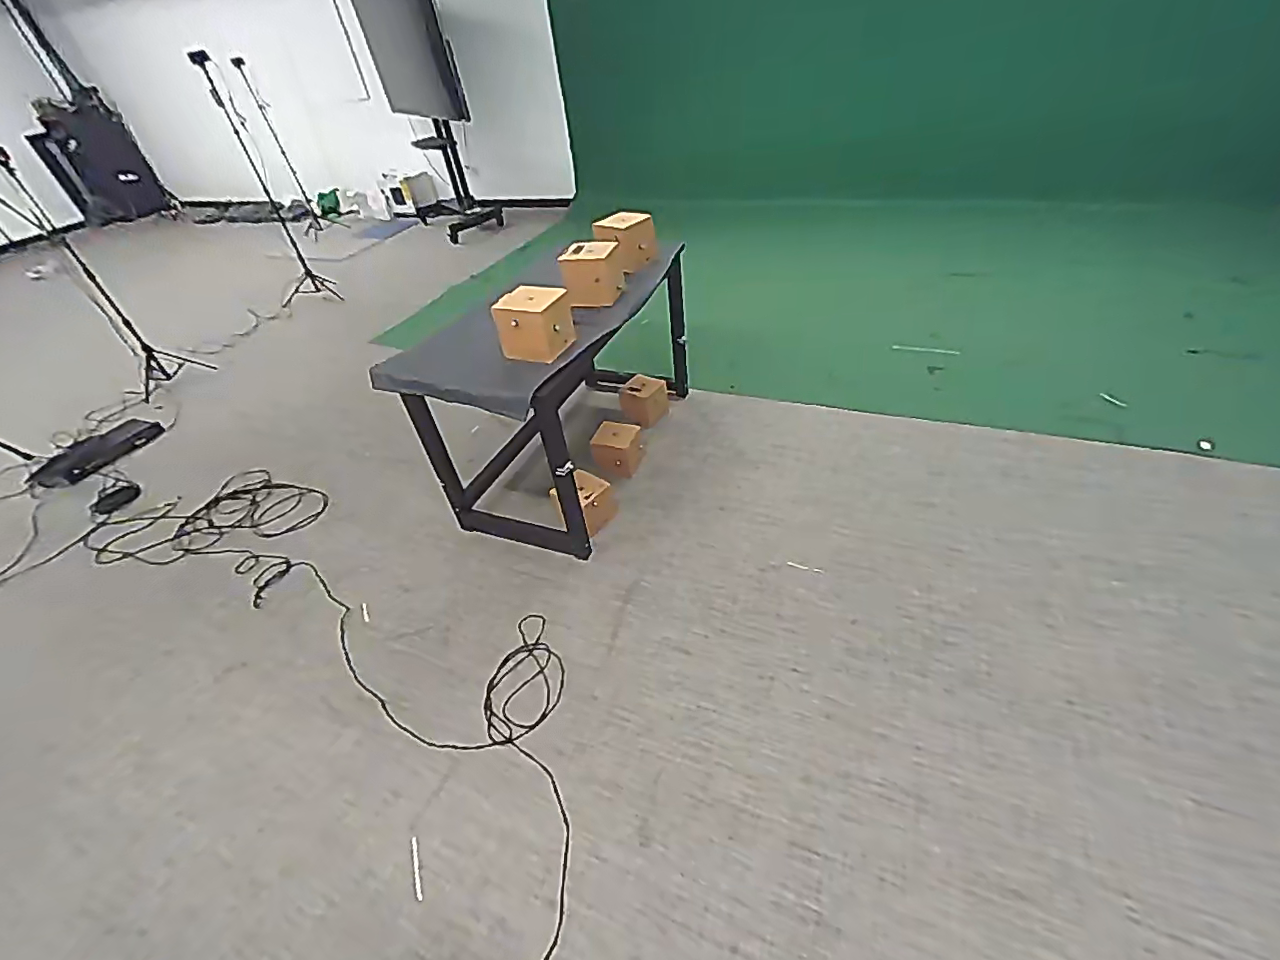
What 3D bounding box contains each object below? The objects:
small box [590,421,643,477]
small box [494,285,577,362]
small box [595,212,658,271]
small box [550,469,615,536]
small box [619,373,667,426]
[{"bbox_3d":[-0.094,-0.133,2.339,0.179,0.176,0.168,9,43,19],"label":"small box"},{"bbox_3d":[-0.311,-0.478,1.657,0.179,0.176,0.168,13,45,21],"label":"small box"},{"bbox_3d":[-0.048,-0.944,2.141,0.179,0.176,0.168,27,52,36],"label":"small box"},{"bbox_3d":[-0.220,0.089,2.107,0.179,0.176,0.168,25,51,32],"label":"small box"},{"bbox_3d":[0.022,-0.387,2.609,0.168,0.176,0.179,22,48,29],"label":"small box"}]
